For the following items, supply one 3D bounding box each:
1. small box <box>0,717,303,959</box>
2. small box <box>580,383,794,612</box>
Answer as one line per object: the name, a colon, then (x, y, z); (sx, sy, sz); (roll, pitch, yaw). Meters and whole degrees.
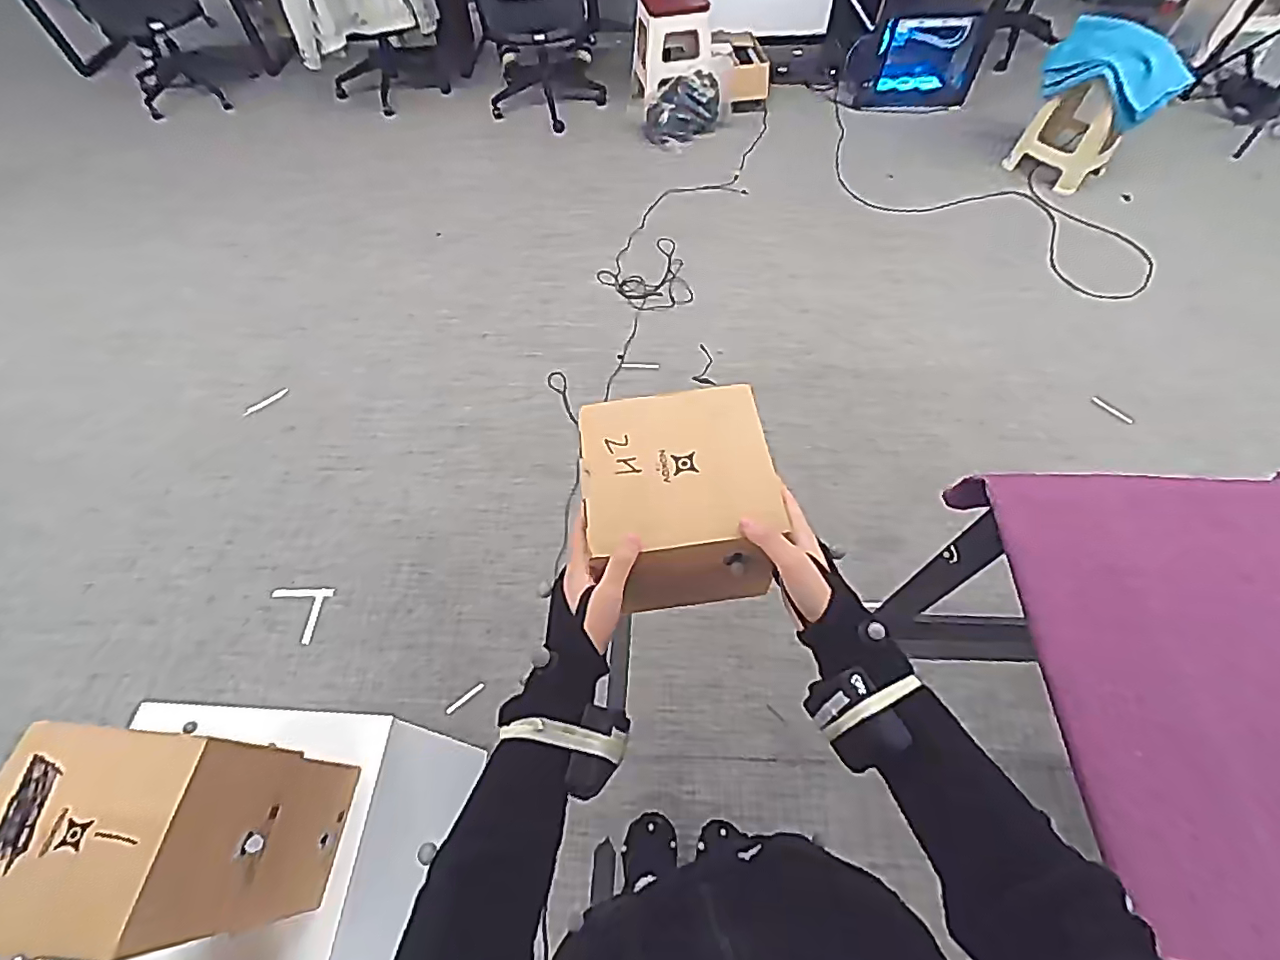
small box: (-0.486, 0.341, 0.532); (0.179, 0.176, 0.168); (4, 60, 3)
small box: (0.040, 0.026, 0.559); (0.179, 0.176, 0.168); (-8, 59, 1)
